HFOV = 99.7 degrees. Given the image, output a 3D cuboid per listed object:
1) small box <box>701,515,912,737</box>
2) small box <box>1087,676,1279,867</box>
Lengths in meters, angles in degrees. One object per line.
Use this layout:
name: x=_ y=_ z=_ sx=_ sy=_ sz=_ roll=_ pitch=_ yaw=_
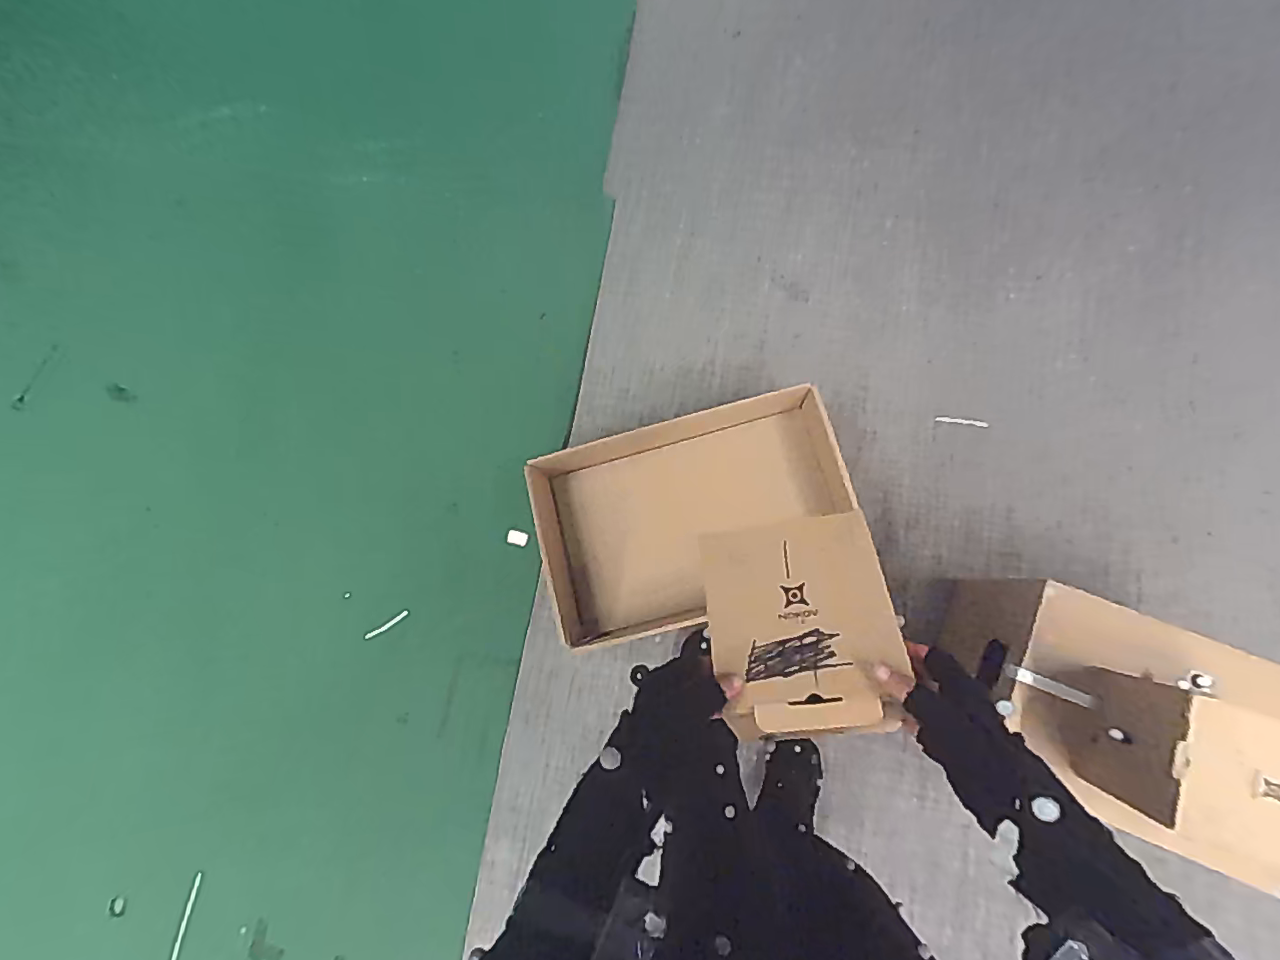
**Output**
small box: x=0.166 y=0.163 z=0.567 sx=0.168 sy=0.176 sz=0.179 roll=-10 pitch=53 yaw=11
small box: x=0.736 y=0.369 z=0.703 sx=0.179 sy=0.176 sz=0.168 roll=15 pitch=83 yaw=10
